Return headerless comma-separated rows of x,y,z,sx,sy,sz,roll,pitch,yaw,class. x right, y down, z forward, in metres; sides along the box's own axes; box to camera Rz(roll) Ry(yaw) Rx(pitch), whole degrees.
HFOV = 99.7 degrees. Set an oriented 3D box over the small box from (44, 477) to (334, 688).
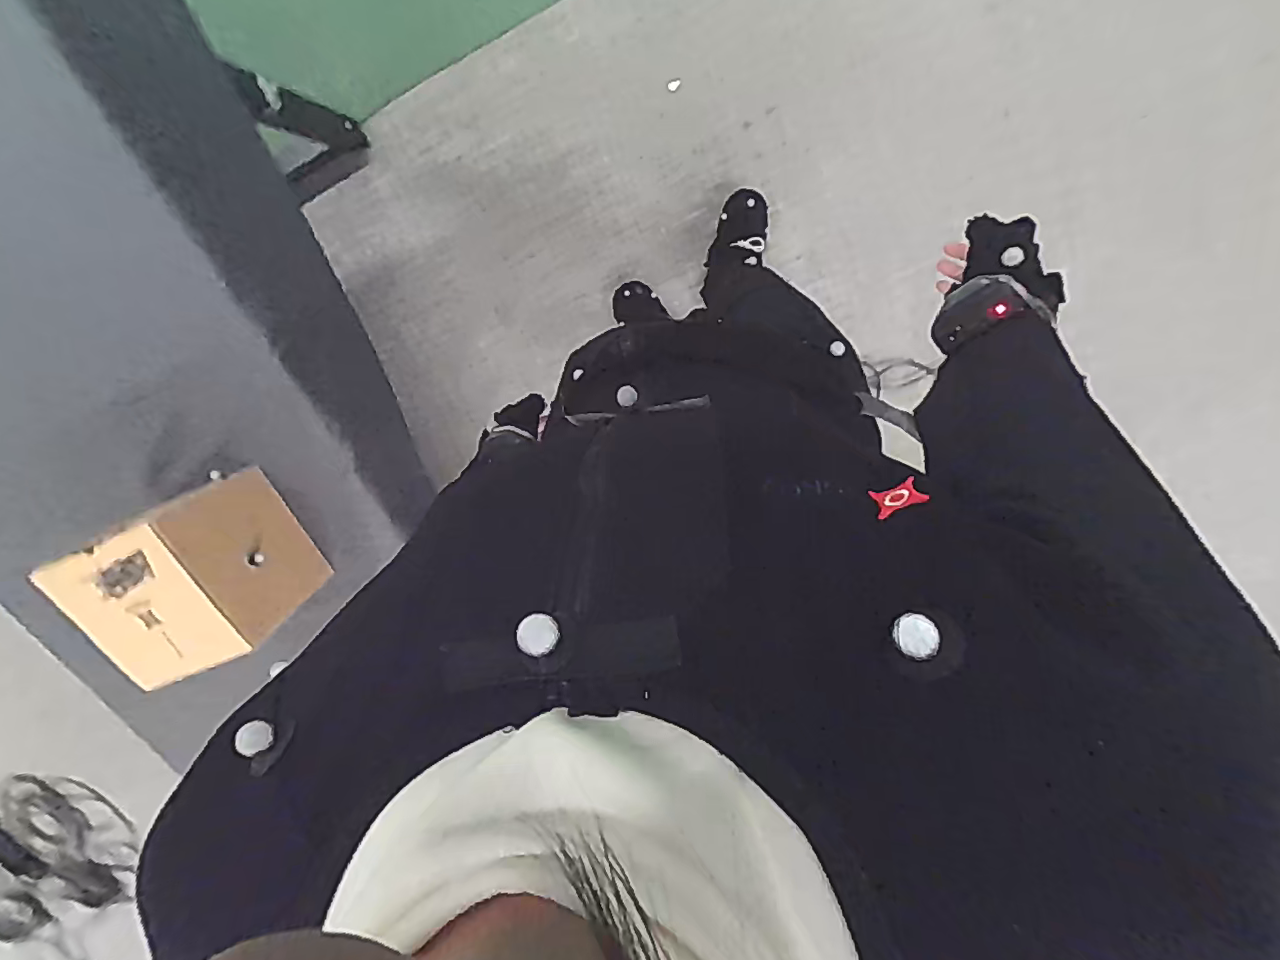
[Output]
-0.530,0.113,0.667,0.168,0.176,0.179,-21,111,10,small box
